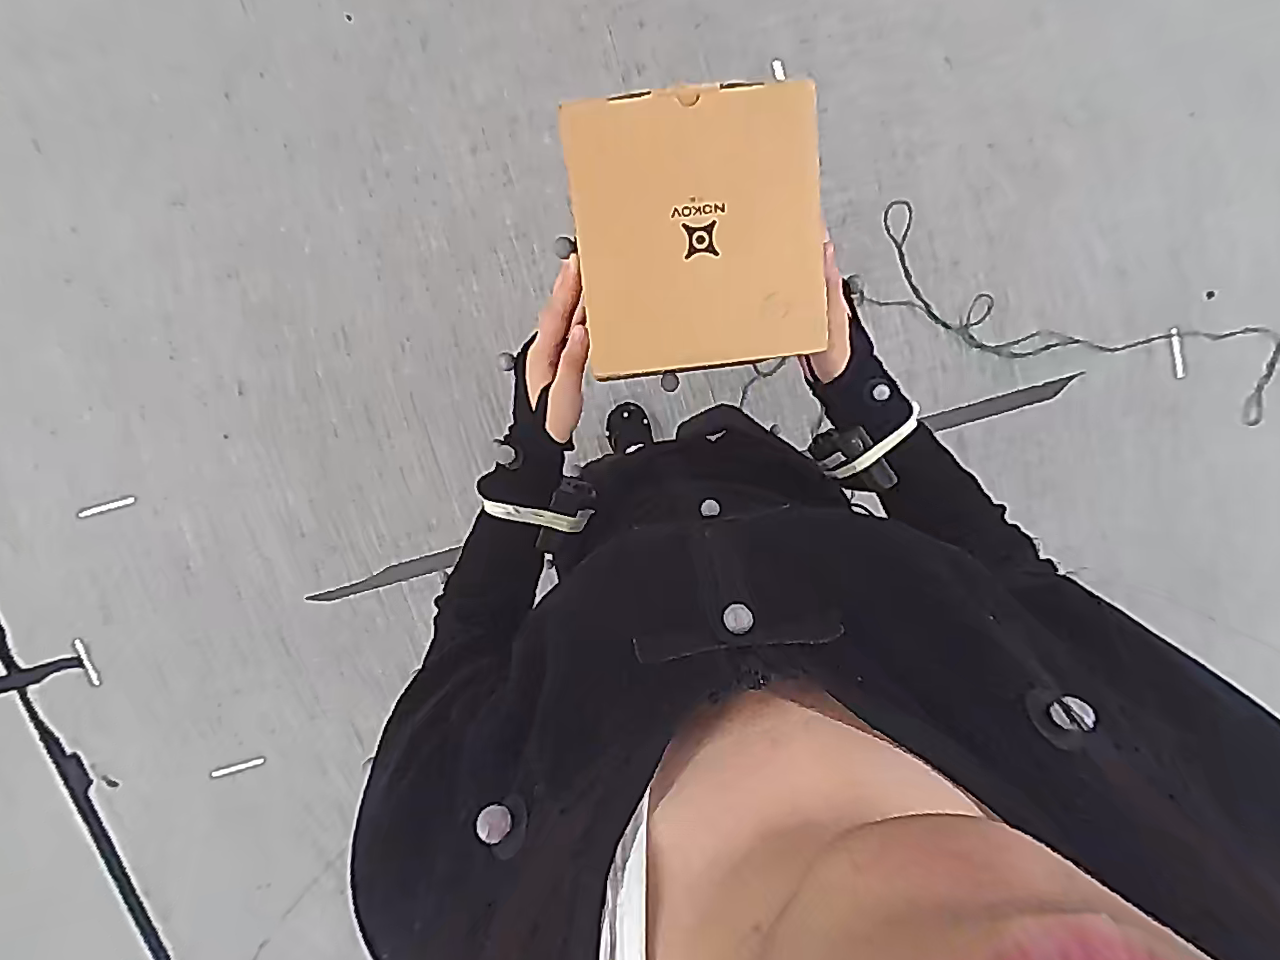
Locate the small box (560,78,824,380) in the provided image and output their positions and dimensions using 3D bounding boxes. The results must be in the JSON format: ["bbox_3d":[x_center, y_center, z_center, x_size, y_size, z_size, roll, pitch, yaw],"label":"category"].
[{"bbox_3d":[0.035,-0.176,0.436,0.168,0.176,0.179,-7,99,-2],"label":"small box"}]
